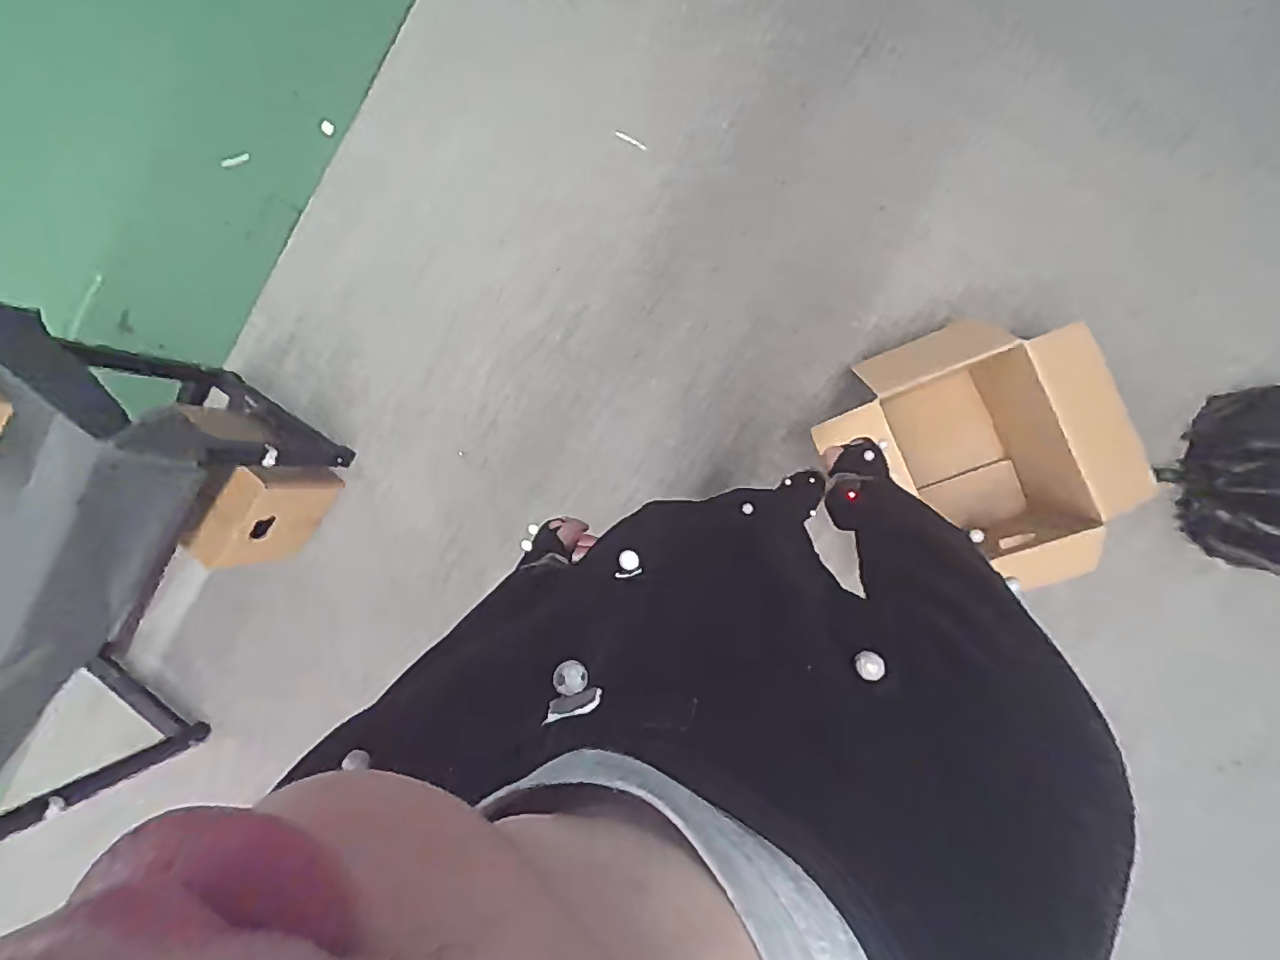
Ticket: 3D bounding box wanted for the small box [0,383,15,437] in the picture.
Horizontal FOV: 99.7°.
[{"bbox_3d":[-1.388,-0.134,1.044,0.168,0.176,0.179,37,97,9],"label":"small box"}]
